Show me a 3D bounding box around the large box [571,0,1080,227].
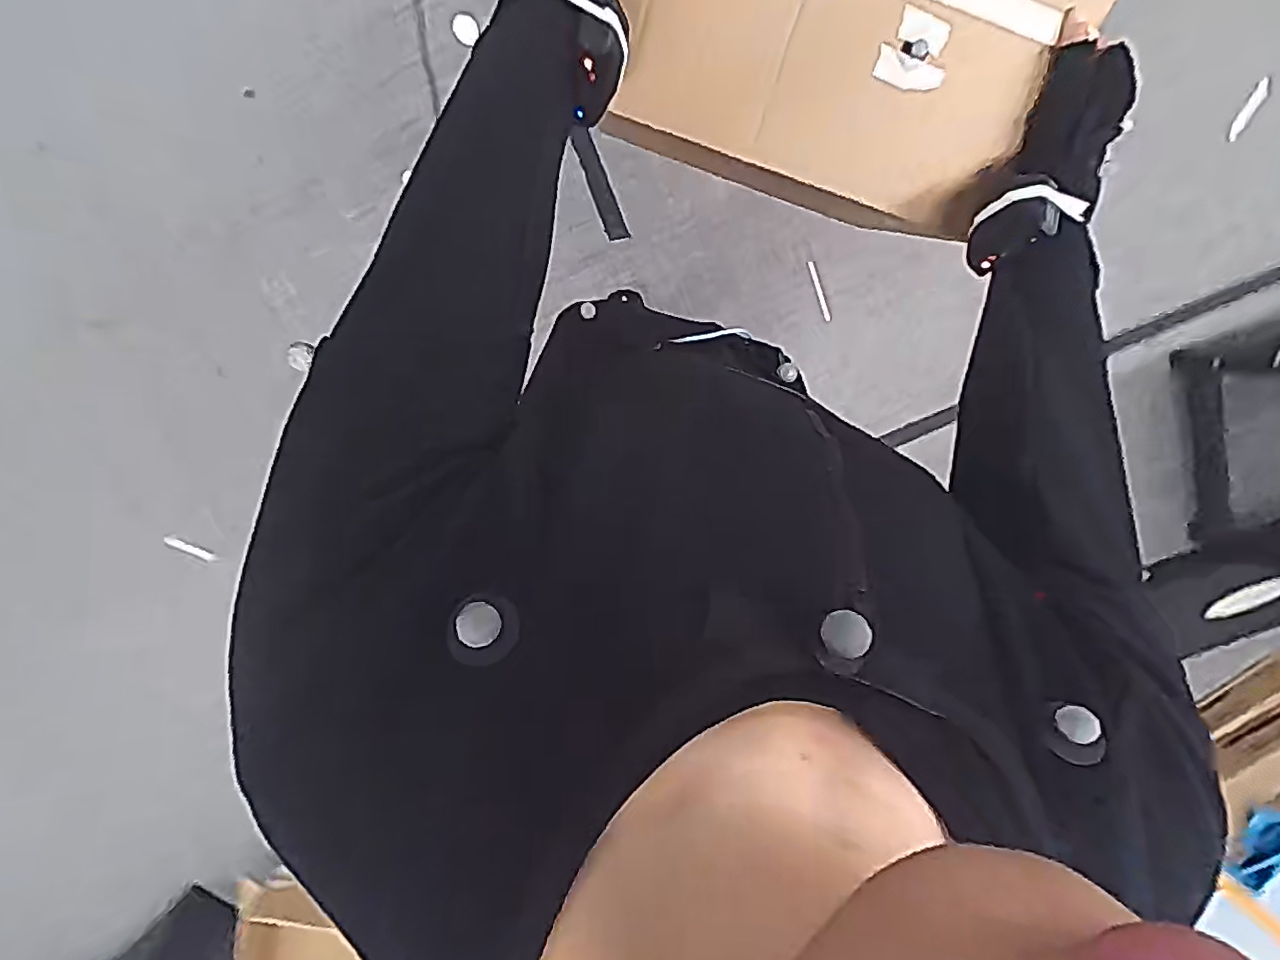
[{"bbox_3d":[0.164,-0.491,0.568,0.408,0.320,0.320,14,118,-8],"label":"large box"}]
